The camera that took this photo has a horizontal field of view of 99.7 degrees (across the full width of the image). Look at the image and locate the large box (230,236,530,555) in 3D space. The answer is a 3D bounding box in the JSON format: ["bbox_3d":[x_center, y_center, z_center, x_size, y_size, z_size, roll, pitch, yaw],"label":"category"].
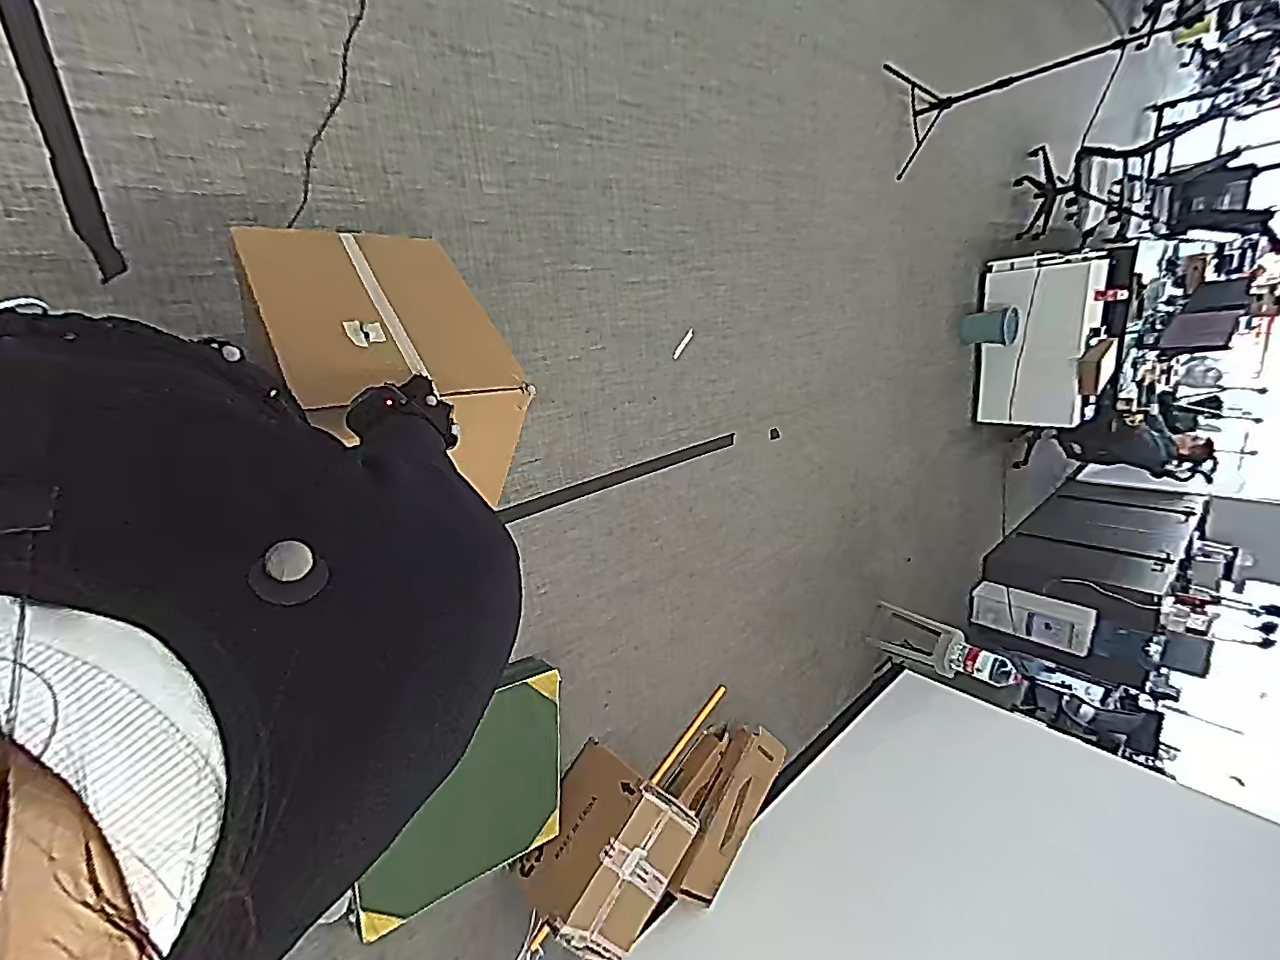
[{"bbox_3d":[-0.446,-0.149,0.915,0.320,0.408,0.320,-15,149,-38],"label":"large box"}]
